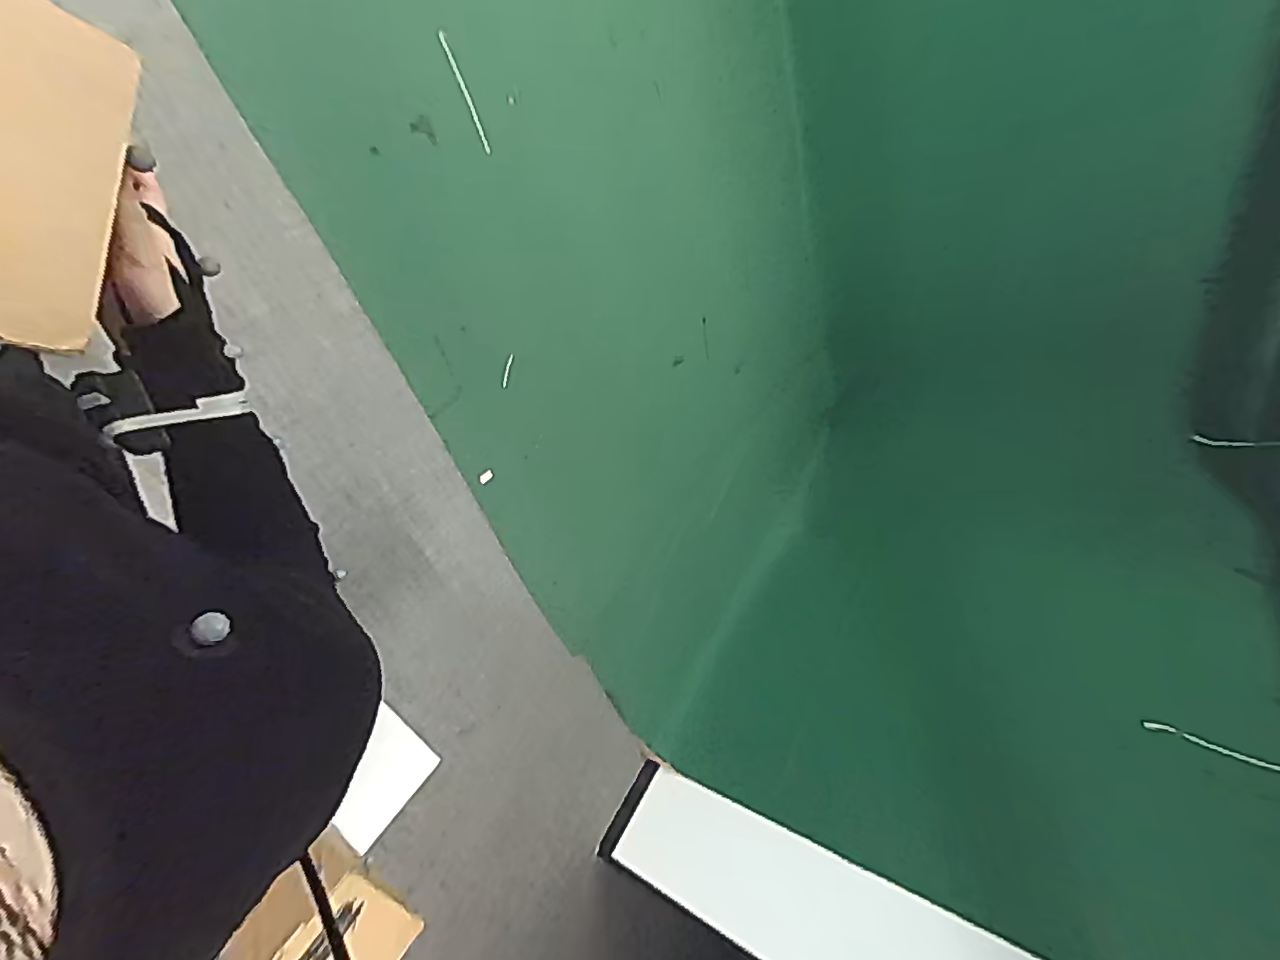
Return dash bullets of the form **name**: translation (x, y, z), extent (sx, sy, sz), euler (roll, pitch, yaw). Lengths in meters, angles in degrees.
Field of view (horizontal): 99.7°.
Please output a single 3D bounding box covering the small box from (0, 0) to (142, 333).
- **small box**: translation (-0.394, -0.185, 0.270), extent (0.168, 0.176, 0.179), euler (13, 89, -53)
